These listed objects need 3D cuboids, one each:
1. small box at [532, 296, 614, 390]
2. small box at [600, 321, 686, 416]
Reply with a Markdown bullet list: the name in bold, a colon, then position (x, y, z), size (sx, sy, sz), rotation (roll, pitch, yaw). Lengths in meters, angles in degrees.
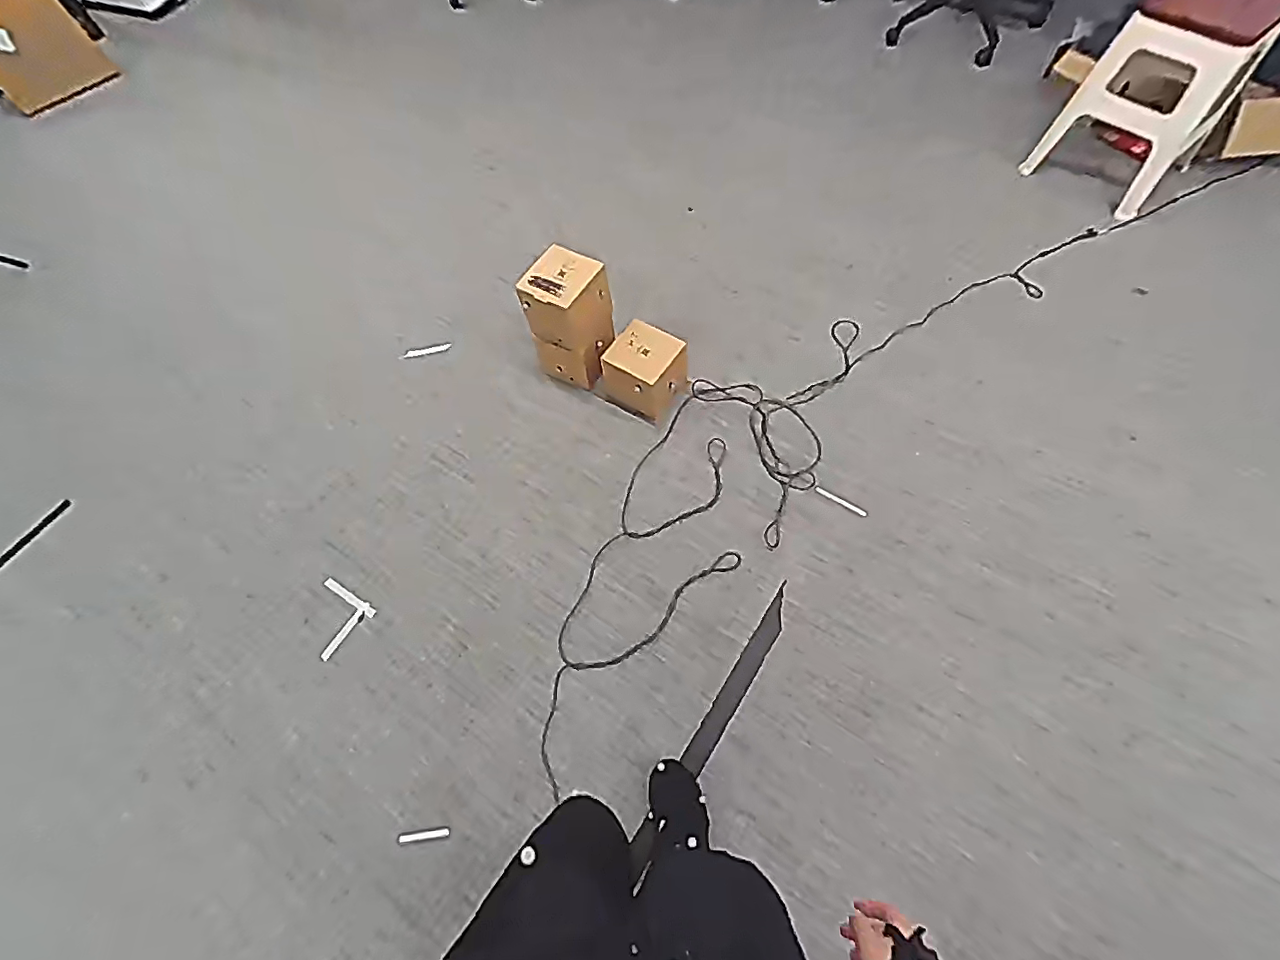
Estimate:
- **small box**: position (-0.186, -0.397, 1.580), size (0.168, 0.176, 0.179), rotation (23, 68, 16)
- **small box**: position (0.017, -0.304, 1.511), size (0.179, 0.176, 0.168), rotation (31, 70, 19)
